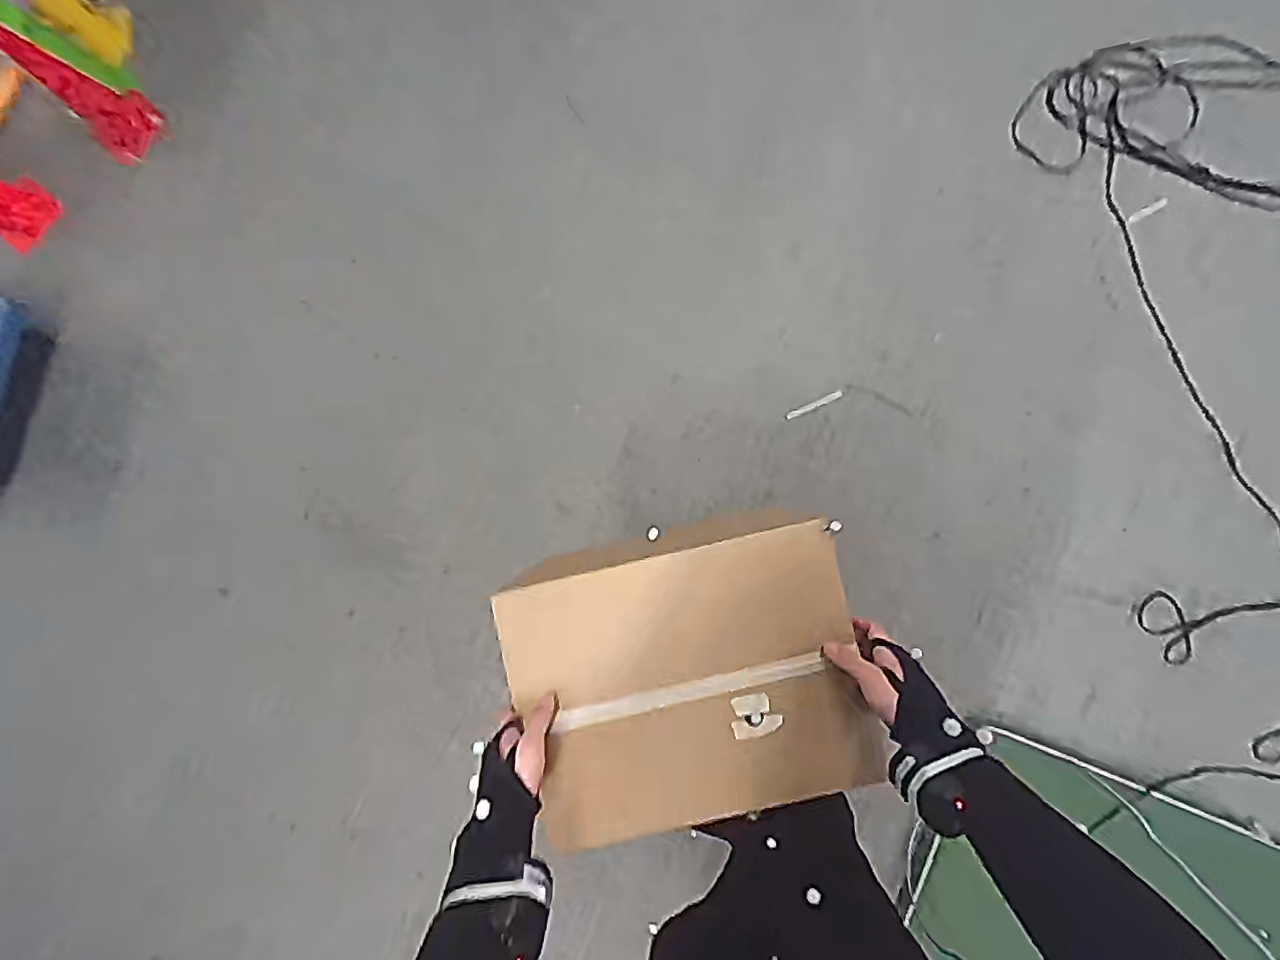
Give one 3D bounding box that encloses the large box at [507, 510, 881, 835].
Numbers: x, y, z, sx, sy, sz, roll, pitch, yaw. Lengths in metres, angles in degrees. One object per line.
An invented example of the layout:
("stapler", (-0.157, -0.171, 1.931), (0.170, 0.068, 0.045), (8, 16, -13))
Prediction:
("large box", (0.064, 0.237, 0.796), (0.408, 0.320, 0.320), (-12, 90, 0))
